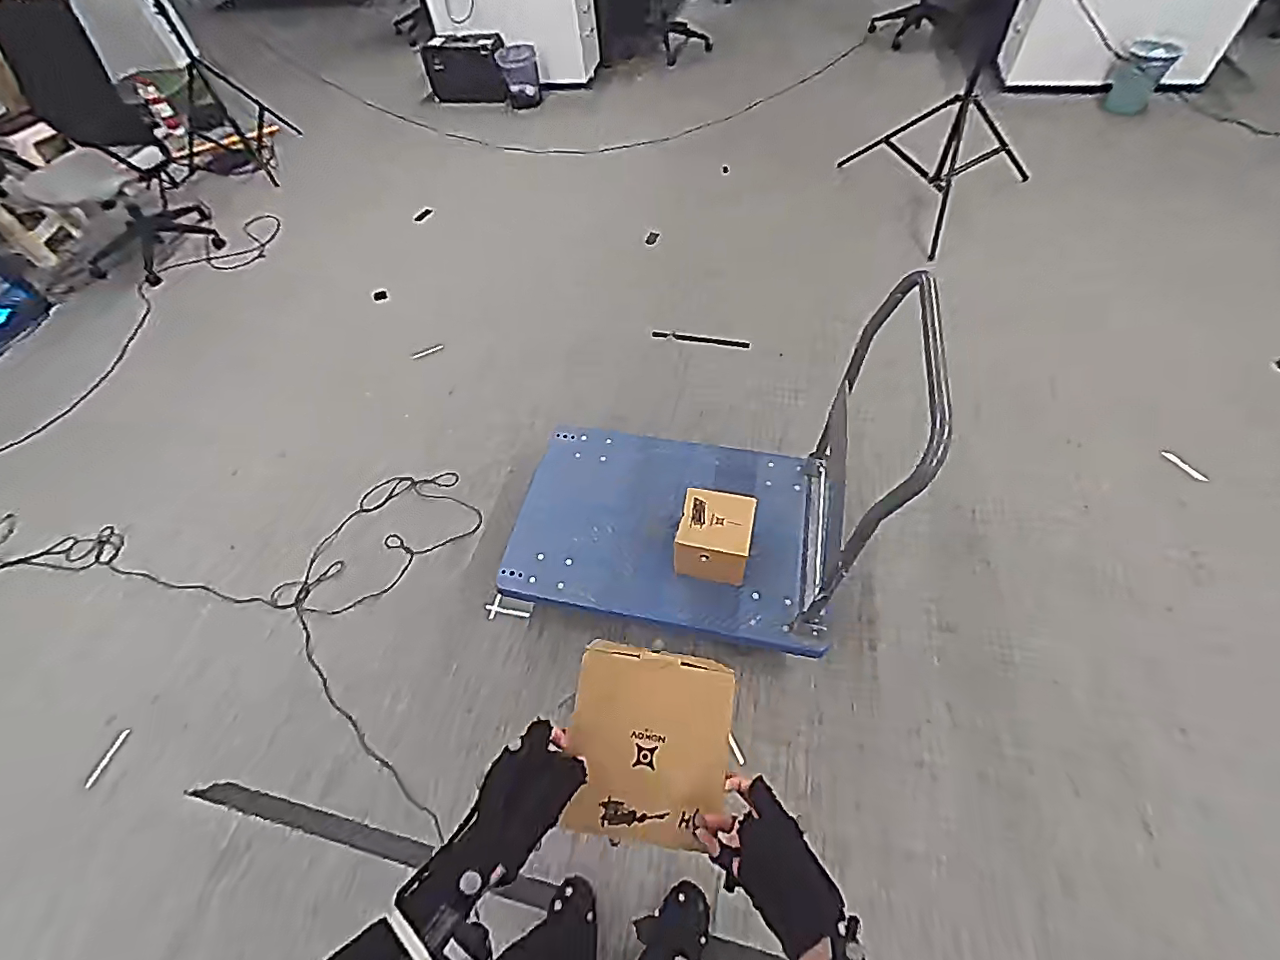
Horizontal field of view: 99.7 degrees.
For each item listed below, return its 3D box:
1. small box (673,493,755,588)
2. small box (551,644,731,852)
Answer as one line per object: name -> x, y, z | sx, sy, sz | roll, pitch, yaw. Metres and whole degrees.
small box -> 0.186, 0.158, 1.378 | 0.179, 0.176, 0.168 | 10, 56, 11
small box -> 0.000, 0.296, 0.635 | 0.168, 0.176, 0.179 | 10, 73, 1
